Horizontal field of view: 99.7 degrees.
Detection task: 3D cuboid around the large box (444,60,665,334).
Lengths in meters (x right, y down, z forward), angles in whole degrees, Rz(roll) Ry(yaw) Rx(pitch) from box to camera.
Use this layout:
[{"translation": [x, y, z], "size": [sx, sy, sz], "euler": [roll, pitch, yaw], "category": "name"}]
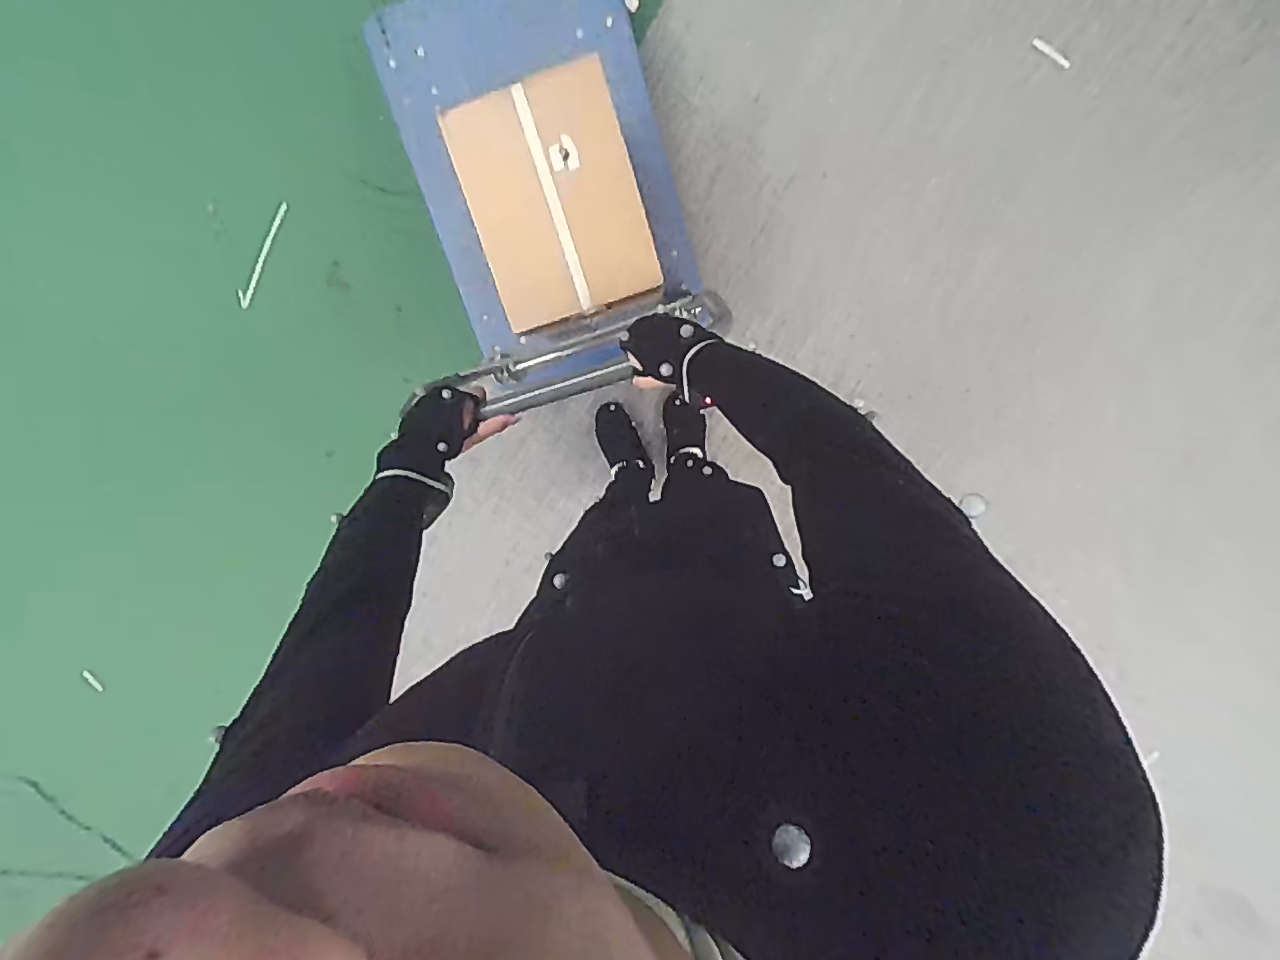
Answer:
[{"translation": [-0.150, -0.559, 1.164], "size": [0.320, 0.320, 0.408], "euler": [-16, 102, 6], "category": "large box"}]
